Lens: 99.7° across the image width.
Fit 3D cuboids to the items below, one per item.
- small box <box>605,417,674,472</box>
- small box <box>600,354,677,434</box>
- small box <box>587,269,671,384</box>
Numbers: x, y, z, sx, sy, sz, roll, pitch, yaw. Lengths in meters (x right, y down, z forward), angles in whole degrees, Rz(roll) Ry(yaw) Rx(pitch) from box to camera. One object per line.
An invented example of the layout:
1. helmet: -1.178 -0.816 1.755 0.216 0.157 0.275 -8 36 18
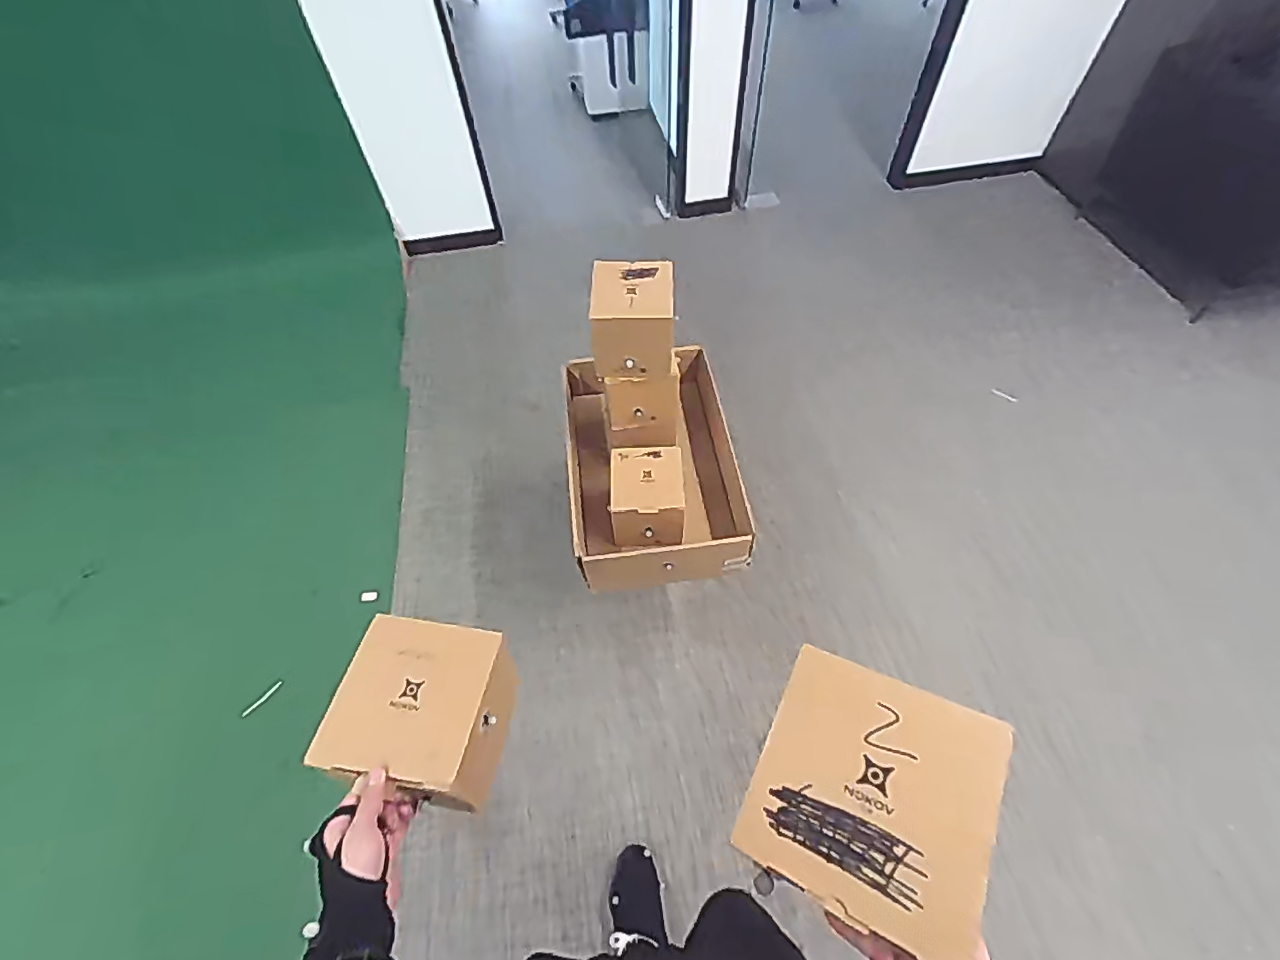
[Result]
1. small box: -0.006 -0.146 1.430 0.168 0.176 0.179 -8 56 -3
2. small box: -0.010 -0.234 1.294 0.168 0.176 0.179 -8 57 -4
3. small box: -0.019 -0.328 1.160 0.168 0.176 0.179 0 57 2
